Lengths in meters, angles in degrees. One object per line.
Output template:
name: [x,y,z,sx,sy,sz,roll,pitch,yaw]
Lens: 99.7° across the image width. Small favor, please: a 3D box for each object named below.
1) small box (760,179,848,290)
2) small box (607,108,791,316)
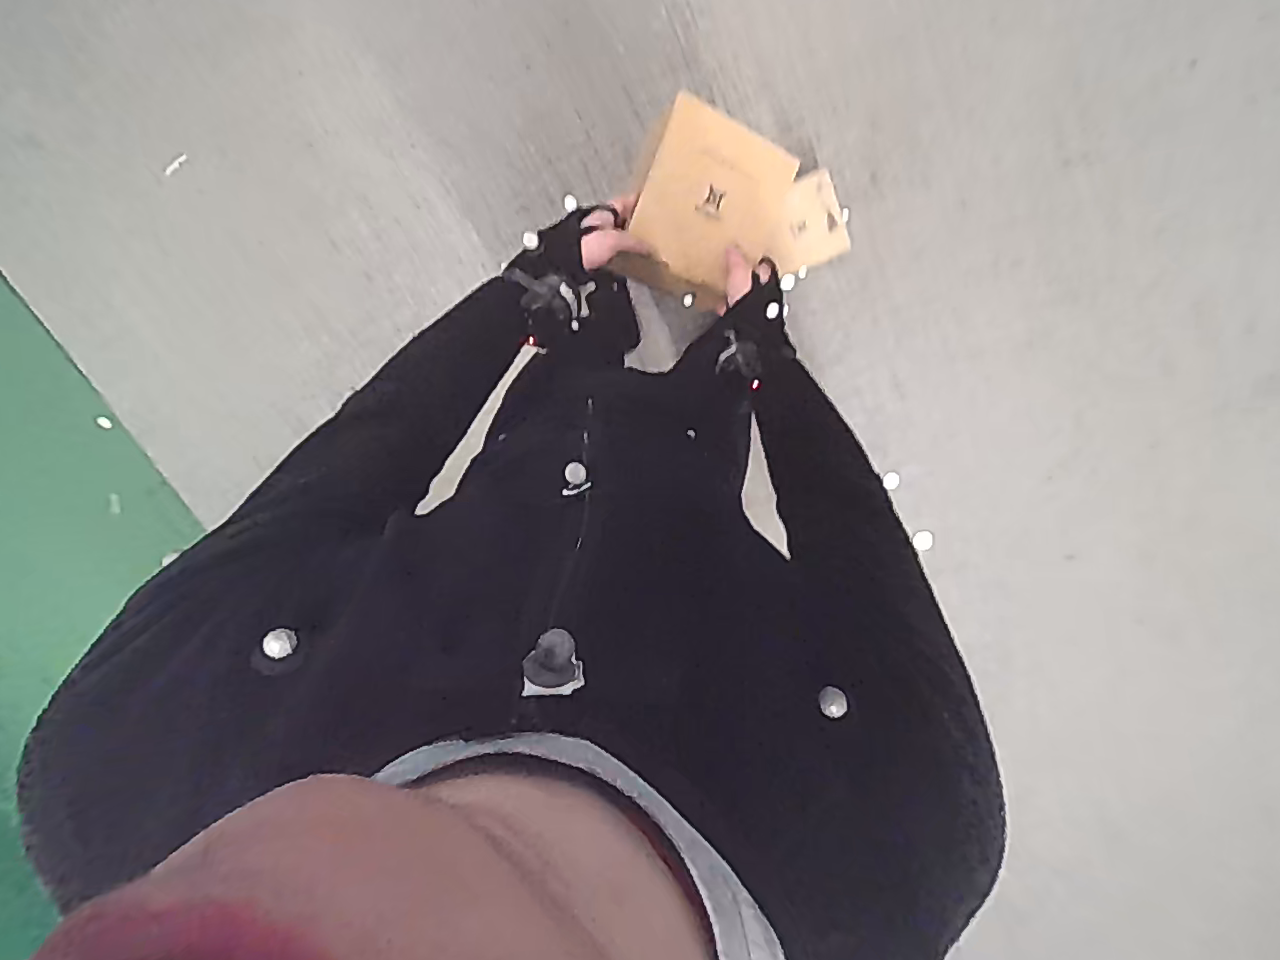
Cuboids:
small box: [0.351,-0.545,1.216,0.179,0.176,0.168,-20,107,21]
small box: [0.064,-0.332,0.717,0.168,0.176,0.179,17,96,-17]
